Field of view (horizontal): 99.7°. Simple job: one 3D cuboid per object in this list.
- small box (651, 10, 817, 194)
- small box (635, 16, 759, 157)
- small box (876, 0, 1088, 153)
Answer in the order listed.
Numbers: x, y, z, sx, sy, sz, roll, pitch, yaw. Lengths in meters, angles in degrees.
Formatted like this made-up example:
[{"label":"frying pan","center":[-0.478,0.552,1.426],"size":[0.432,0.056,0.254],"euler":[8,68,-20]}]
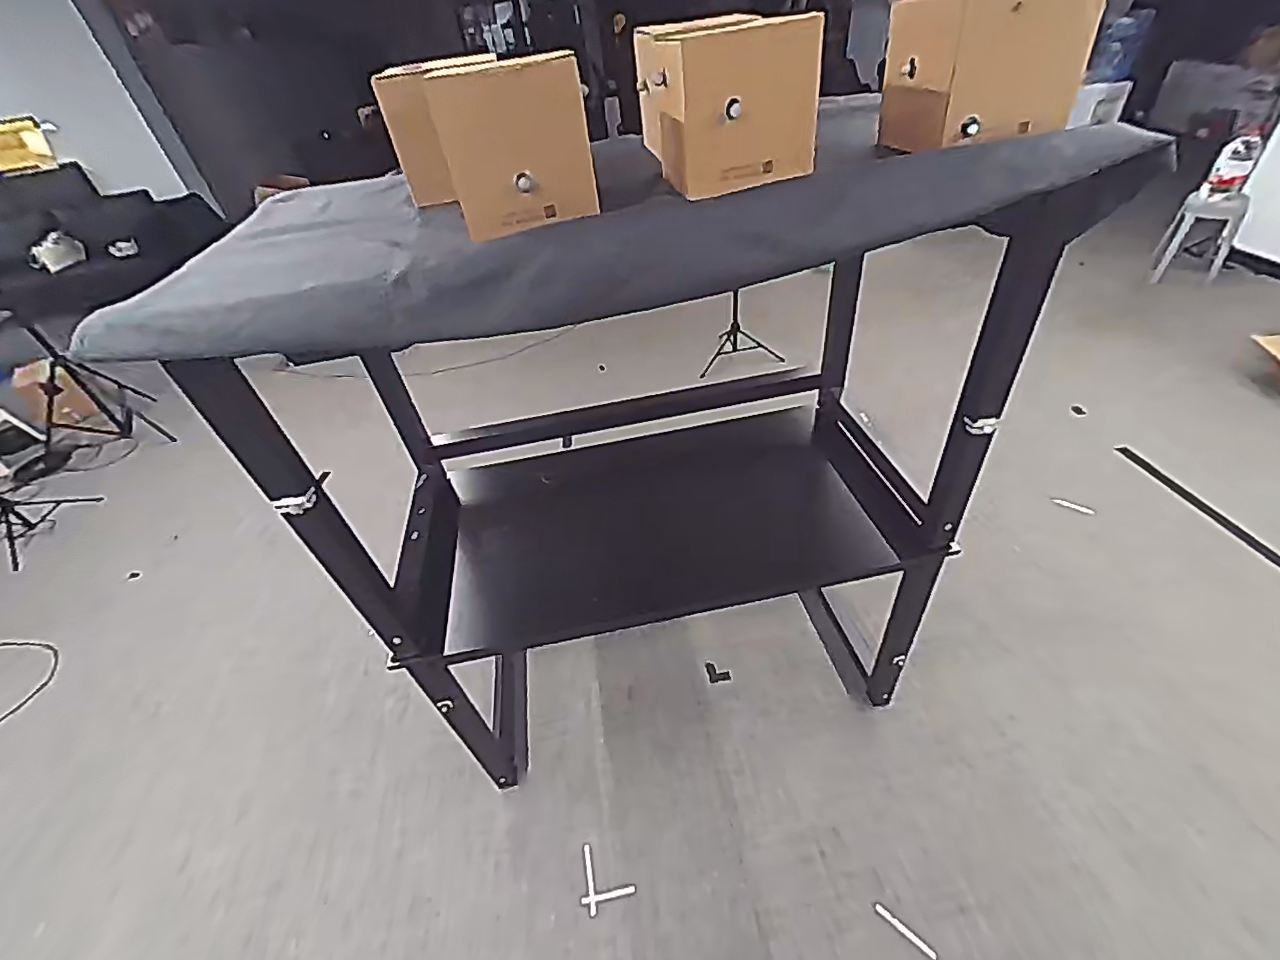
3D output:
[{"label":"small box","center":[0.117,-0.488,0.709],"size":[0.168,0.176,0.179],"euler":[-11,39,-3]},{"label":"small box","center":[0.091,-0.652,0.902],"size":[0.168,0.176,0.179],"euler":[-12,40,-3]},{"label":"small box","center":[0.430,-0.536,0.701],"size":[0.168,0.176,0.179],"euler":[-10,37,-1]}]
